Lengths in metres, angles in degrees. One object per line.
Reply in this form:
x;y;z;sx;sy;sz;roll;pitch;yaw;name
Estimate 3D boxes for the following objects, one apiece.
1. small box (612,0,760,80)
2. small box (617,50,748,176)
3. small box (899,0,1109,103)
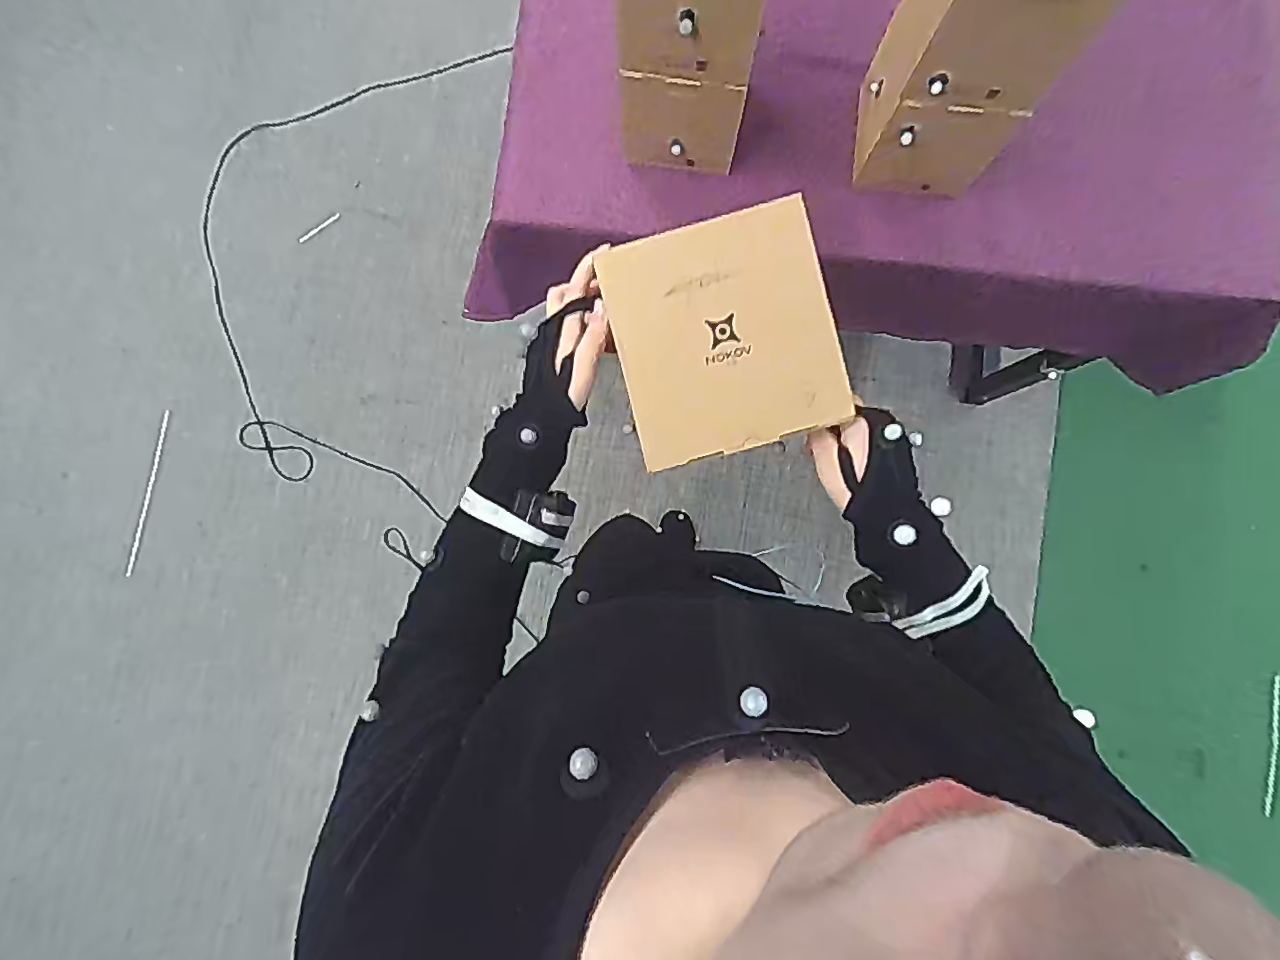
0.060;-0.598;0.607;0.168;0.176;0.179;8;84;1;small box
0.064;-0.576;0.771;0.168;0.176;0.179;8;84;2;small box
0.406;-0.560;0.597;0.168;0.176;0.179;6;83;2;small box
